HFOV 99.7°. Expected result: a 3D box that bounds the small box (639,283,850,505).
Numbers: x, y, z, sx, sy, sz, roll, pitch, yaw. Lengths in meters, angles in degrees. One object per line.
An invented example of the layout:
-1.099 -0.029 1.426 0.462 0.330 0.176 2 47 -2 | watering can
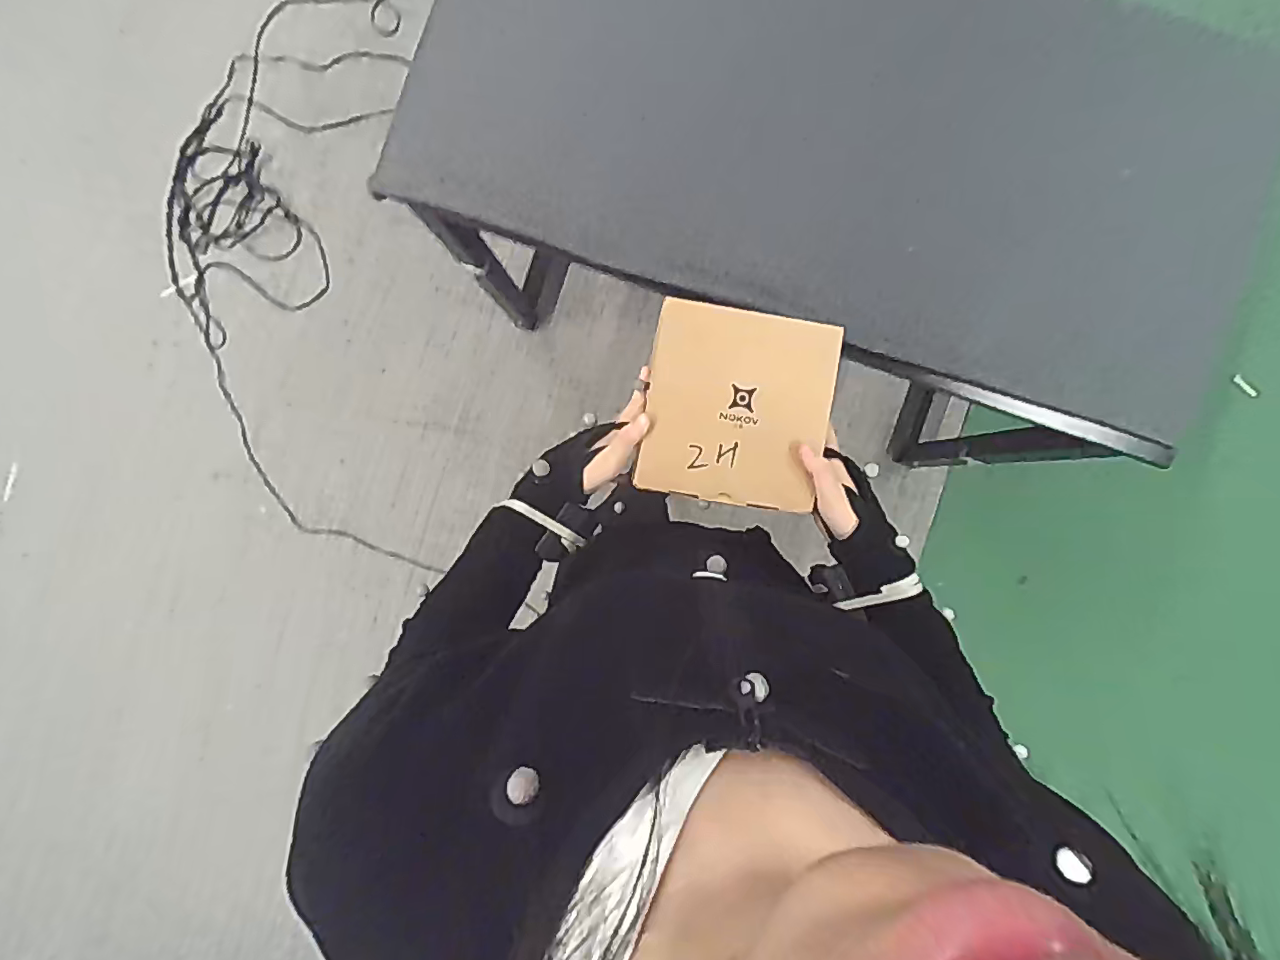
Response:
0.092 -0.078 0.560 0.168 0.176 0.179 9 92 -1 | small box
